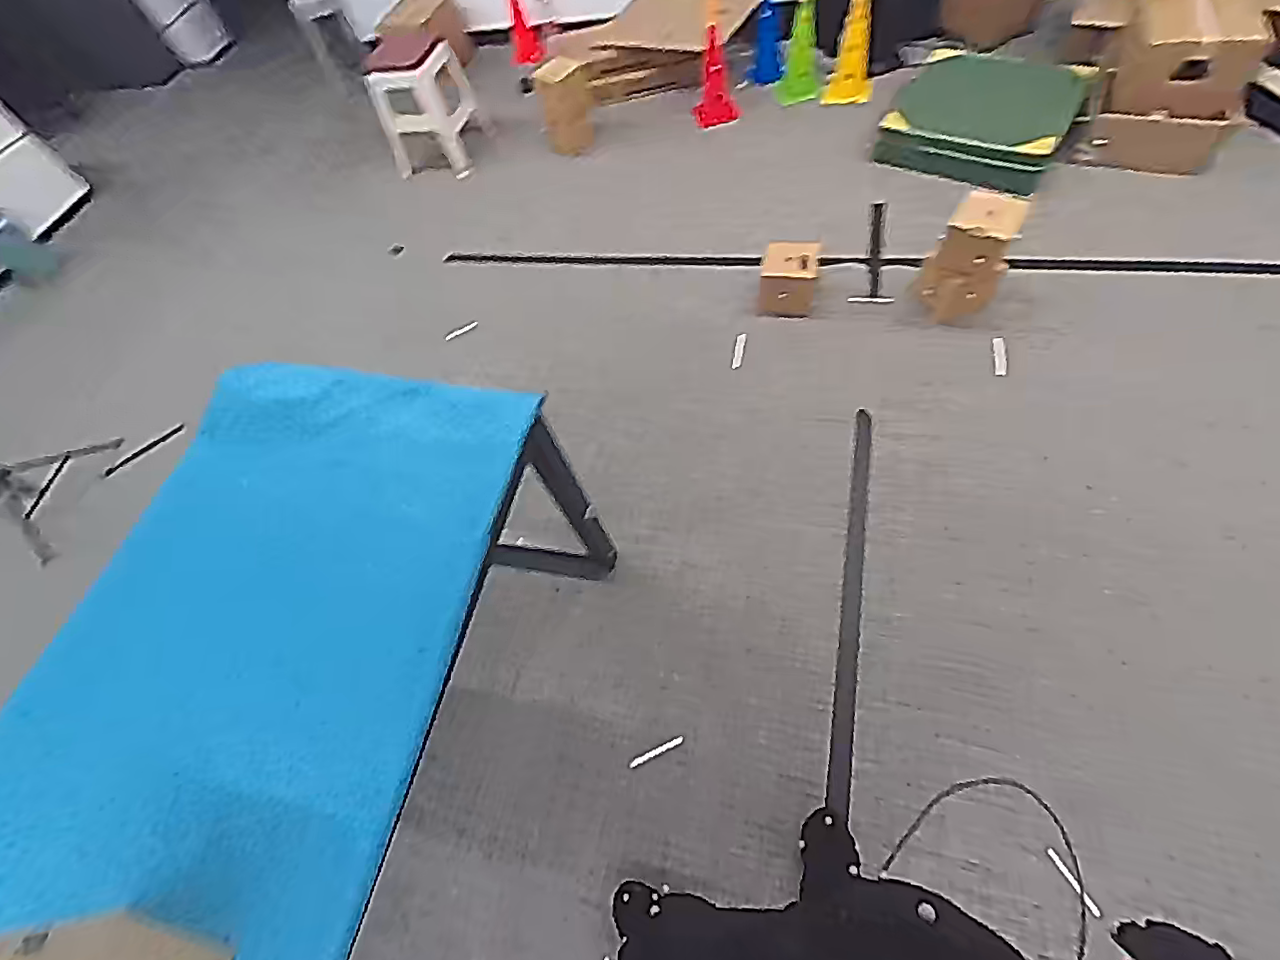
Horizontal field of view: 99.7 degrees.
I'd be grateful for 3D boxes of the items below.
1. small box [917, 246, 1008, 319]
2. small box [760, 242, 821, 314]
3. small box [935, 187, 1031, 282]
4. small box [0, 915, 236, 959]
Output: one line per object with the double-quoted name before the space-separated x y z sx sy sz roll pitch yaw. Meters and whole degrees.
"small box" 1.026 -0.652 1.745 0.179 0.176 0.168 -22 59 -2
"small box" 0.516 -0.693 1.864 0.179 0.176 0.168 9 63 17
"small box" 1.002 -0.719 1.596 0.168 0.176 0.179 30 70 22
"small box" -0.560 0.560 0.527 0.179 0.176 0.168 9 64 14
